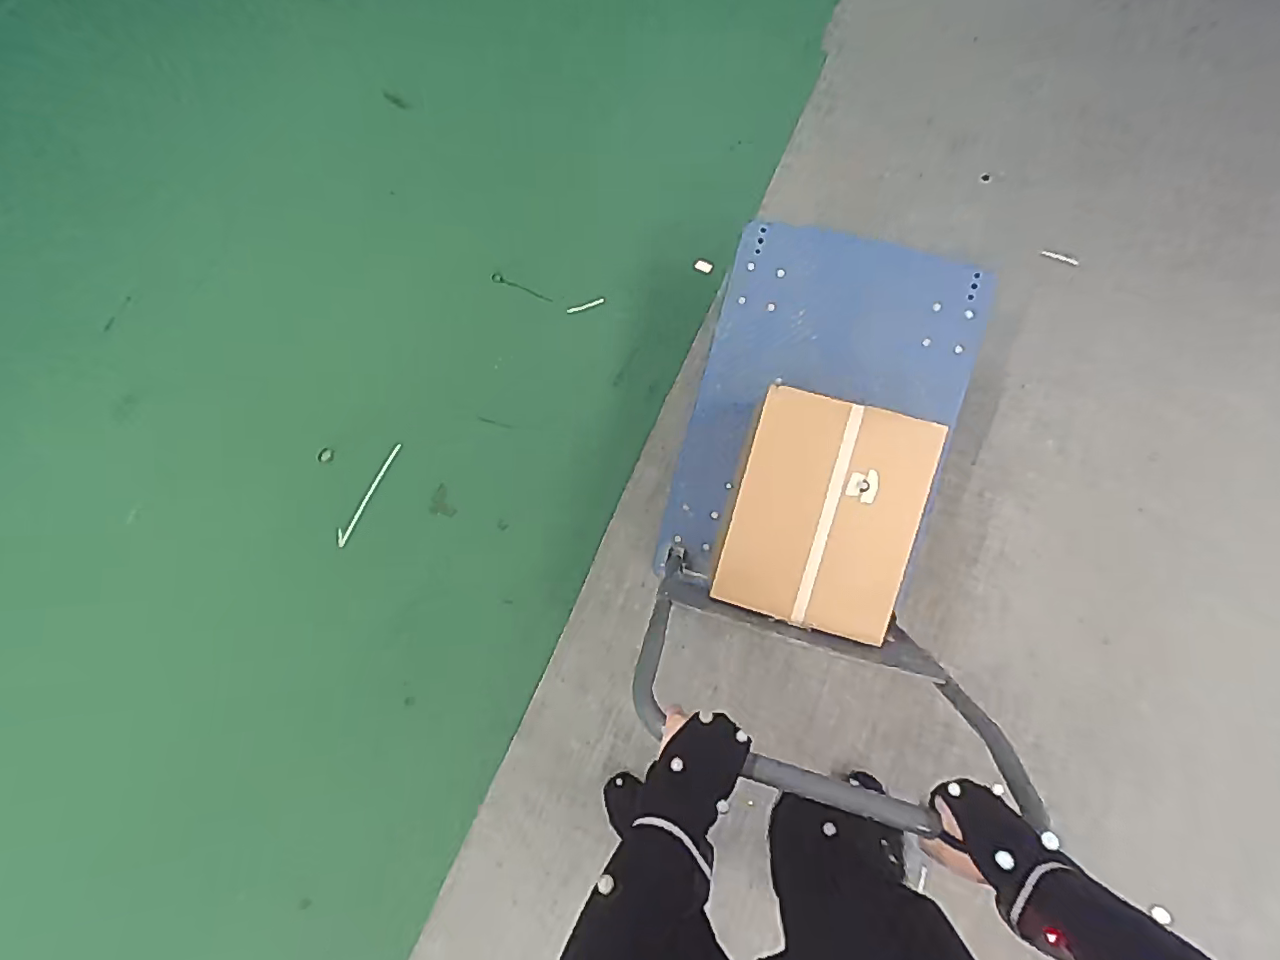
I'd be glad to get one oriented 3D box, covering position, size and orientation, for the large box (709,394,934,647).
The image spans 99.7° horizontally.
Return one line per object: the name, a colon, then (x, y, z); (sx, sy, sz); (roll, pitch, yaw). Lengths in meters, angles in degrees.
large box: (0.344, 0.072, 1.125); (0.320, 0.320, 0.408); (16, 93, 6)
